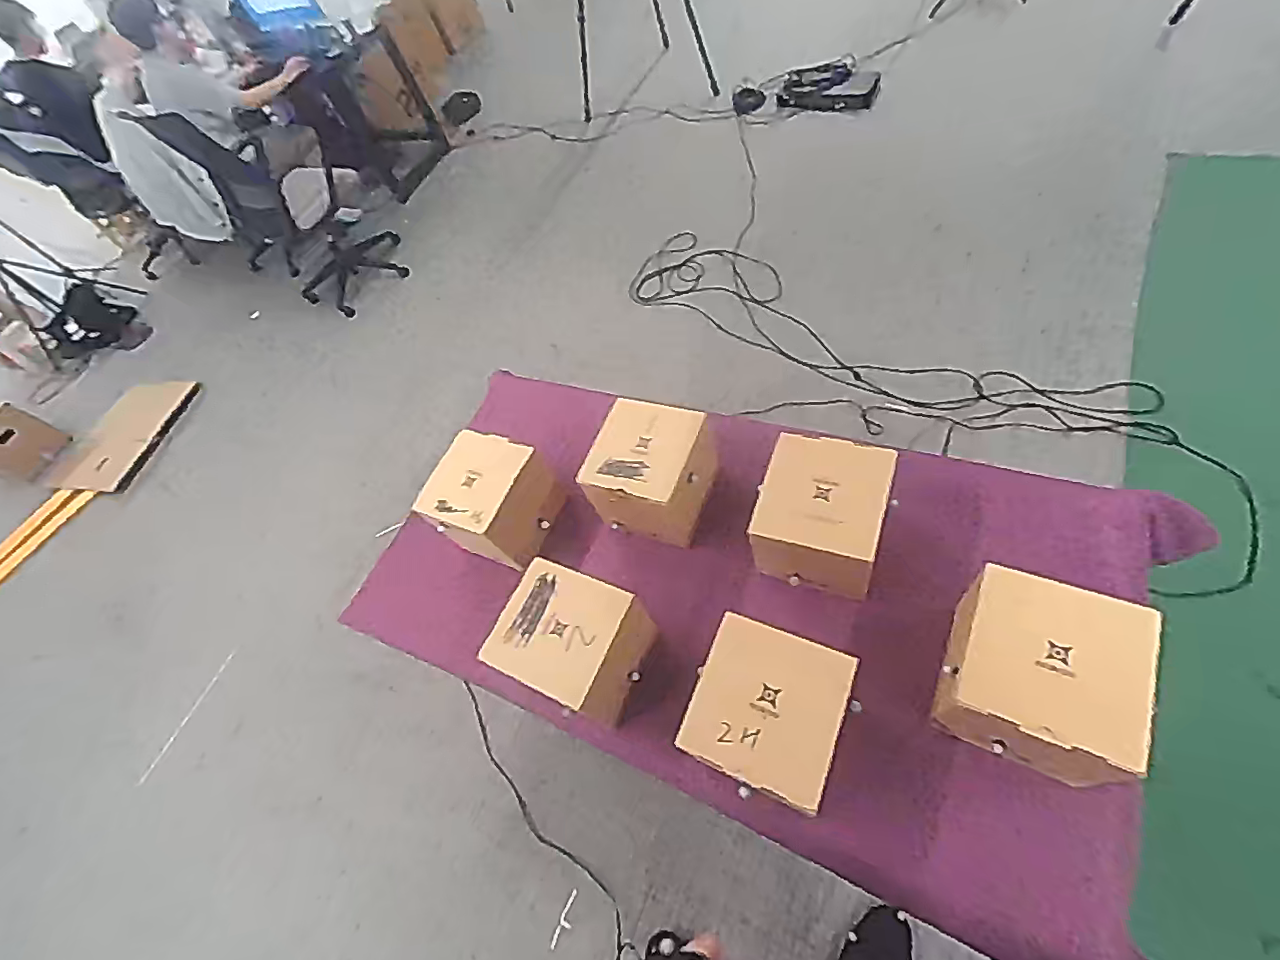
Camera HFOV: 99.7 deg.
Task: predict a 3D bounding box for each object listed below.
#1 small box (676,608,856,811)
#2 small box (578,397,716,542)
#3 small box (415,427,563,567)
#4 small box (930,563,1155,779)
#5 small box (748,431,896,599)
[{"bbox_3d":[0.166,0.297,0.699,0.168,0.176,0.179,16,65,26],"label":"small box"},{"bbox_3d":[0.023,-0.014,0.937,0.168,0.176,0.179,14,64,24],"label":"small box"},{"bbox_3d":[-0.263,0.033,0.993,0.168,0.176,0.179,15,65,26],"label":"small box"},{"bbox_3d":[0.467,0.231,0.650,0.168,0.176,0.179,17,67,26],"label":"small box"},{"bbox_3d":[0.273,0.055,0.819,0.168,0.176,0.179,13,65,25],"label":"small box"}]
